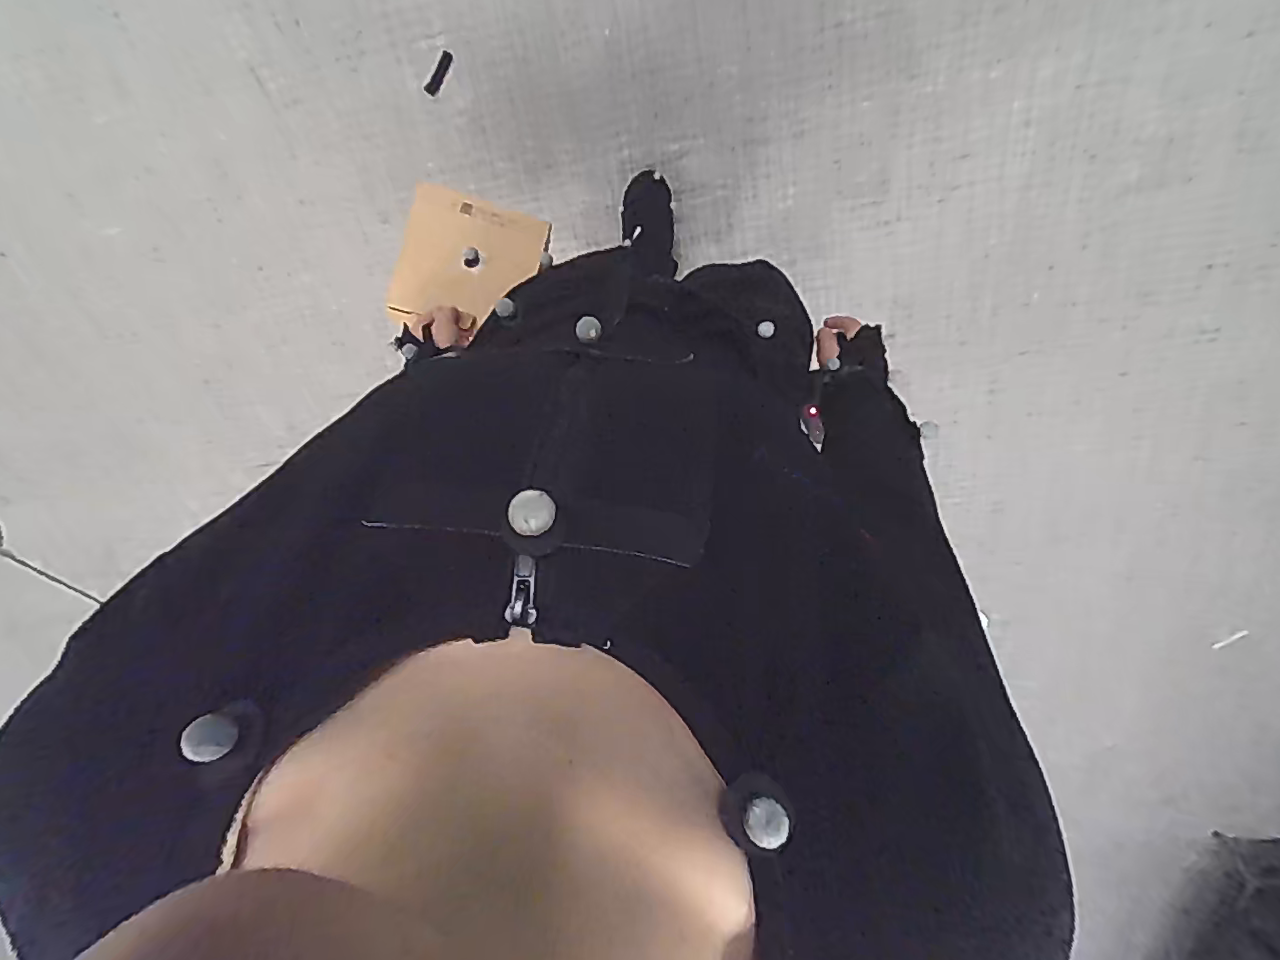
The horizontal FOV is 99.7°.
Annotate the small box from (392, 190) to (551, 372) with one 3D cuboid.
[{"bbox_3d":[-0.227,-0.269,0.760,0.168,0.179,0.176,15,87,-13],"label":"small box"}]
